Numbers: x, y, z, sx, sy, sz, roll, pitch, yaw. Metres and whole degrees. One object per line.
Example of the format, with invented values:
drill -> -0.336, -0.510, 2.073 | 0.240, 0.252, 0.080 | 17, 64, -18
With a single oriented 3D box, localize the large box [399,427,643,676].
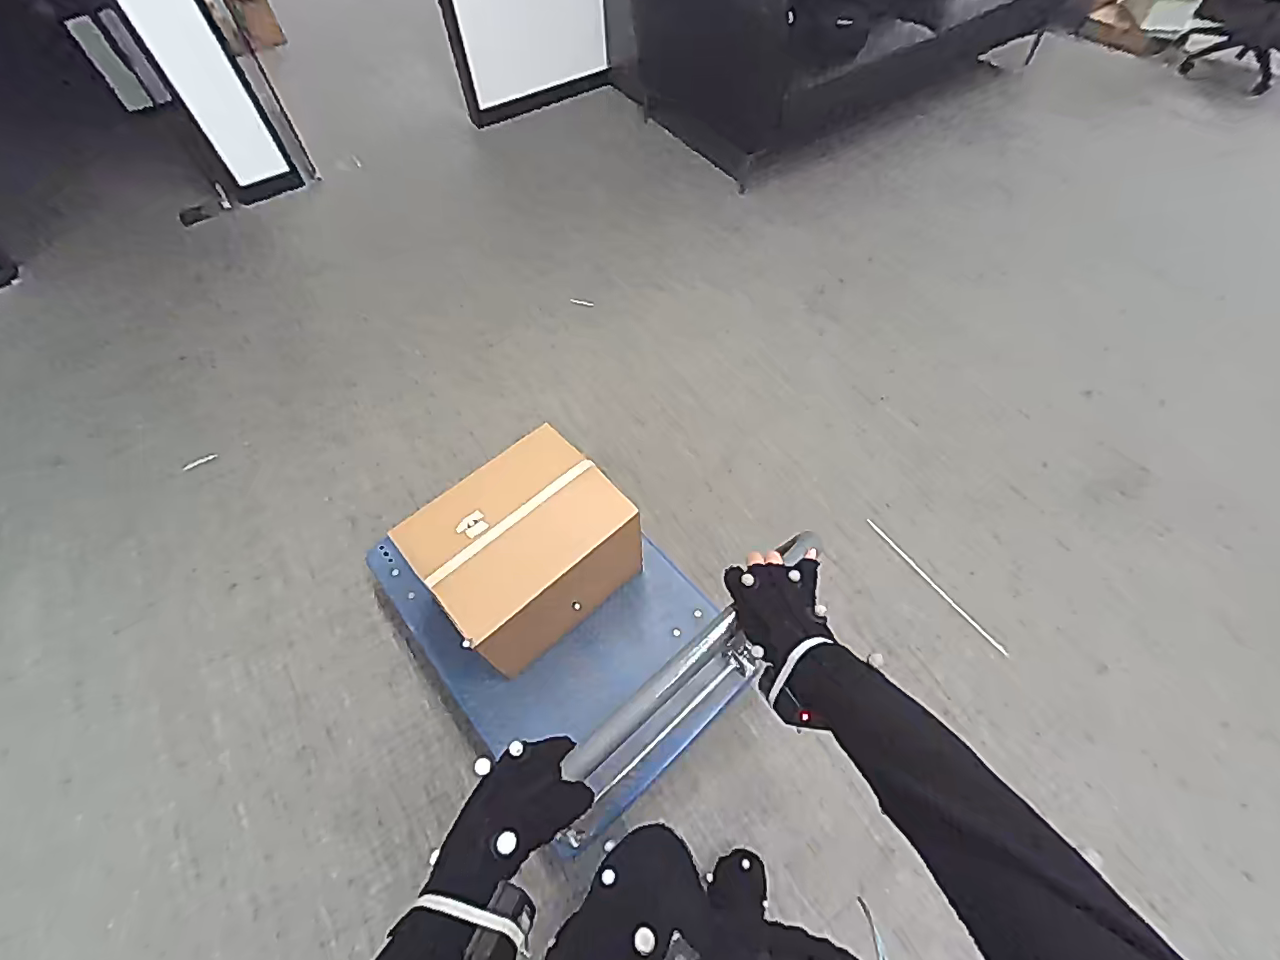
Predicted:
large box -> -0.236, 0.164, 1.220 | 0.408, 0.320, 0.320 | -40, 65, -19
